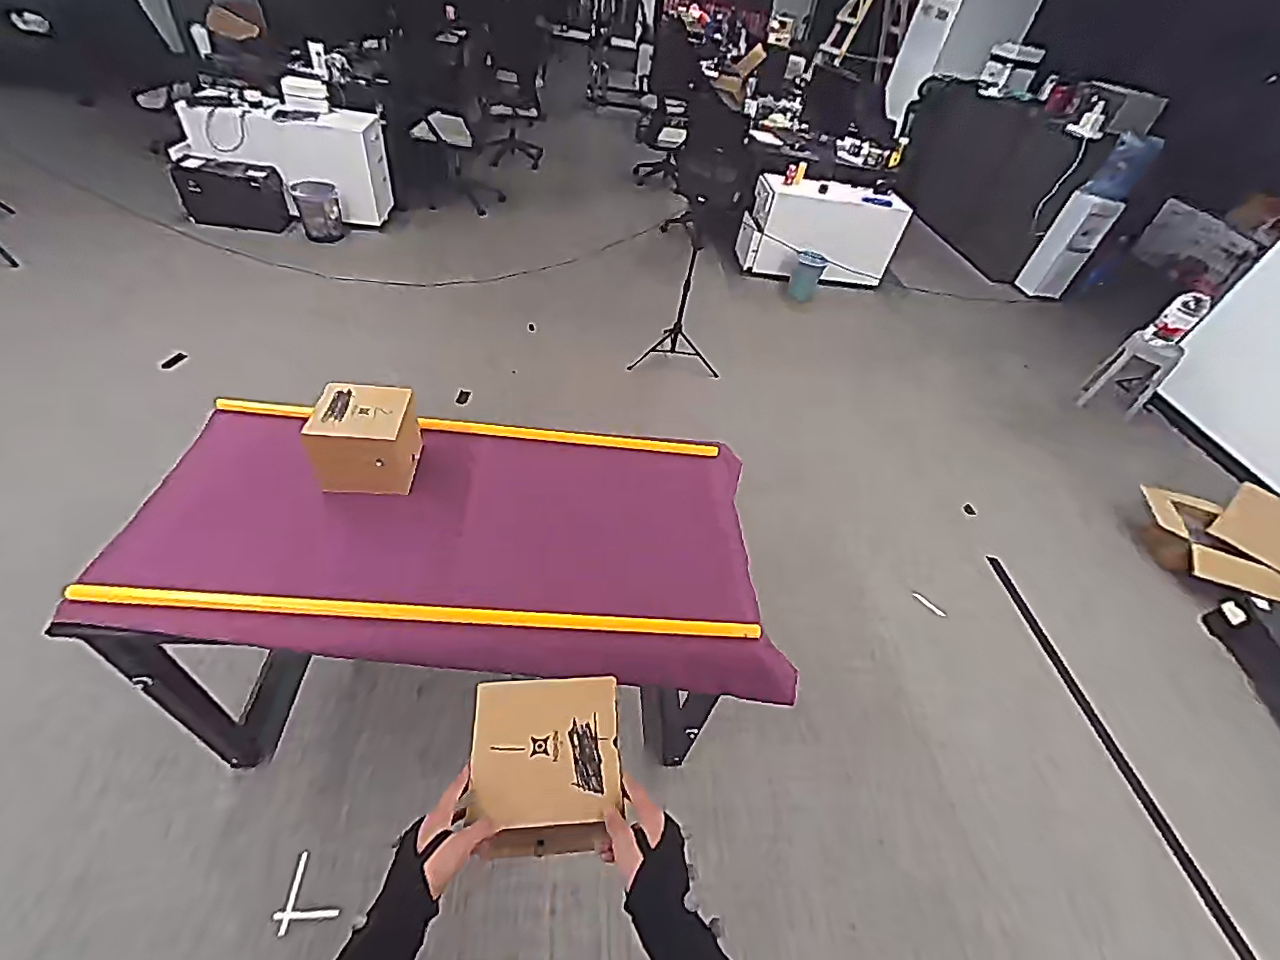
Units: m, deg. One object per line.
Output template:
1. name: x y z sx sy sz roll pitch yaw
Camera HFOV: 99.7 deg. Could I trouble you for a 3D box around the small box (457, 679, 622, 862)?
1. small box: -0.120 0.369 0.688 0.179 0.176 0.168 0 46 -7
